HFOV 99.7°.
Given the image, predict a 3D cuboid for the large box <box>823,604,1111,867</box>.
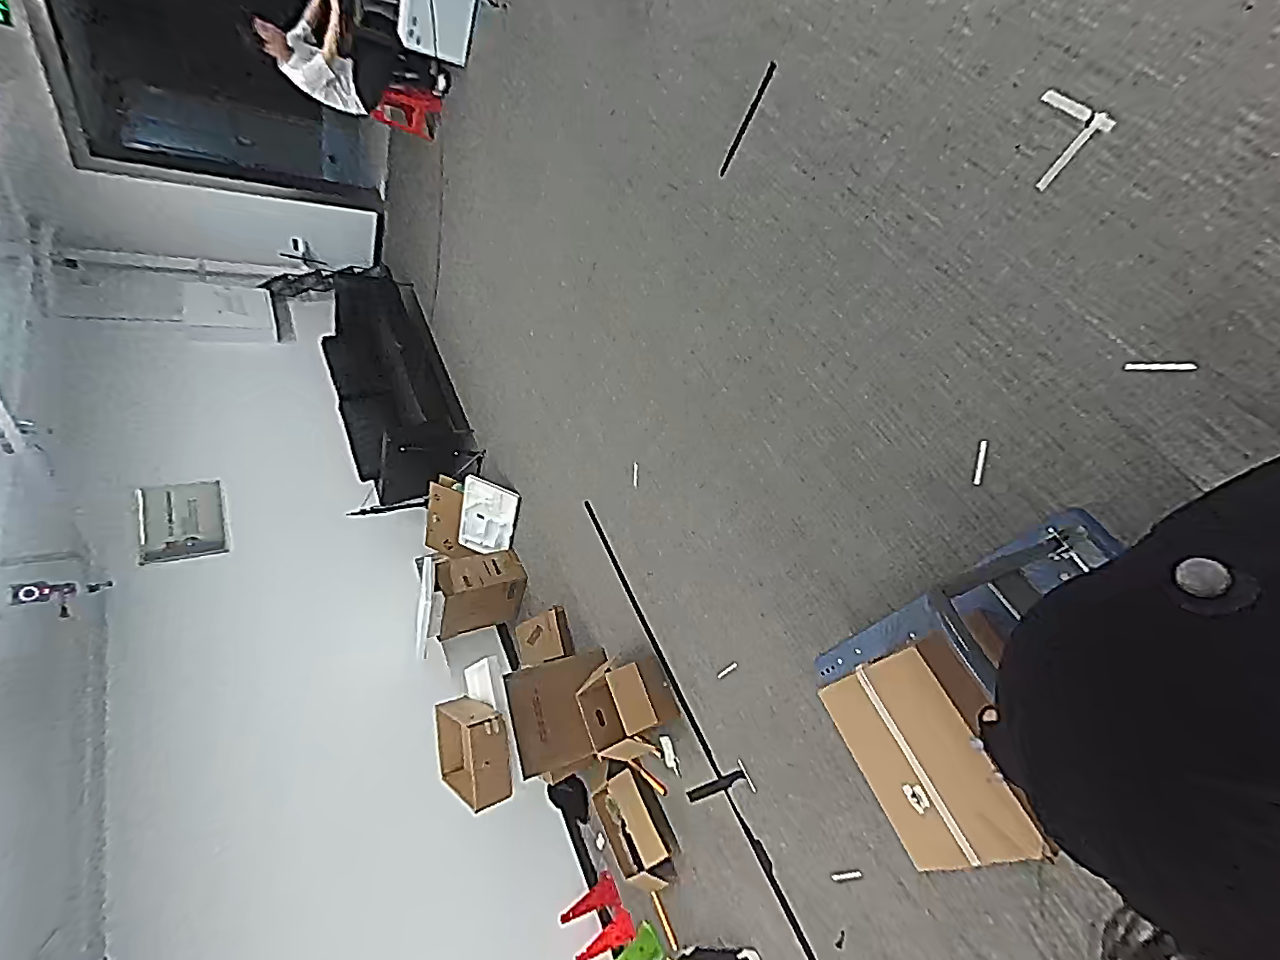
[{"bbox_3d":[0.706,0.551,1.205,0.408,0.320,0.320,62,141,25],"label":"large box"}]
